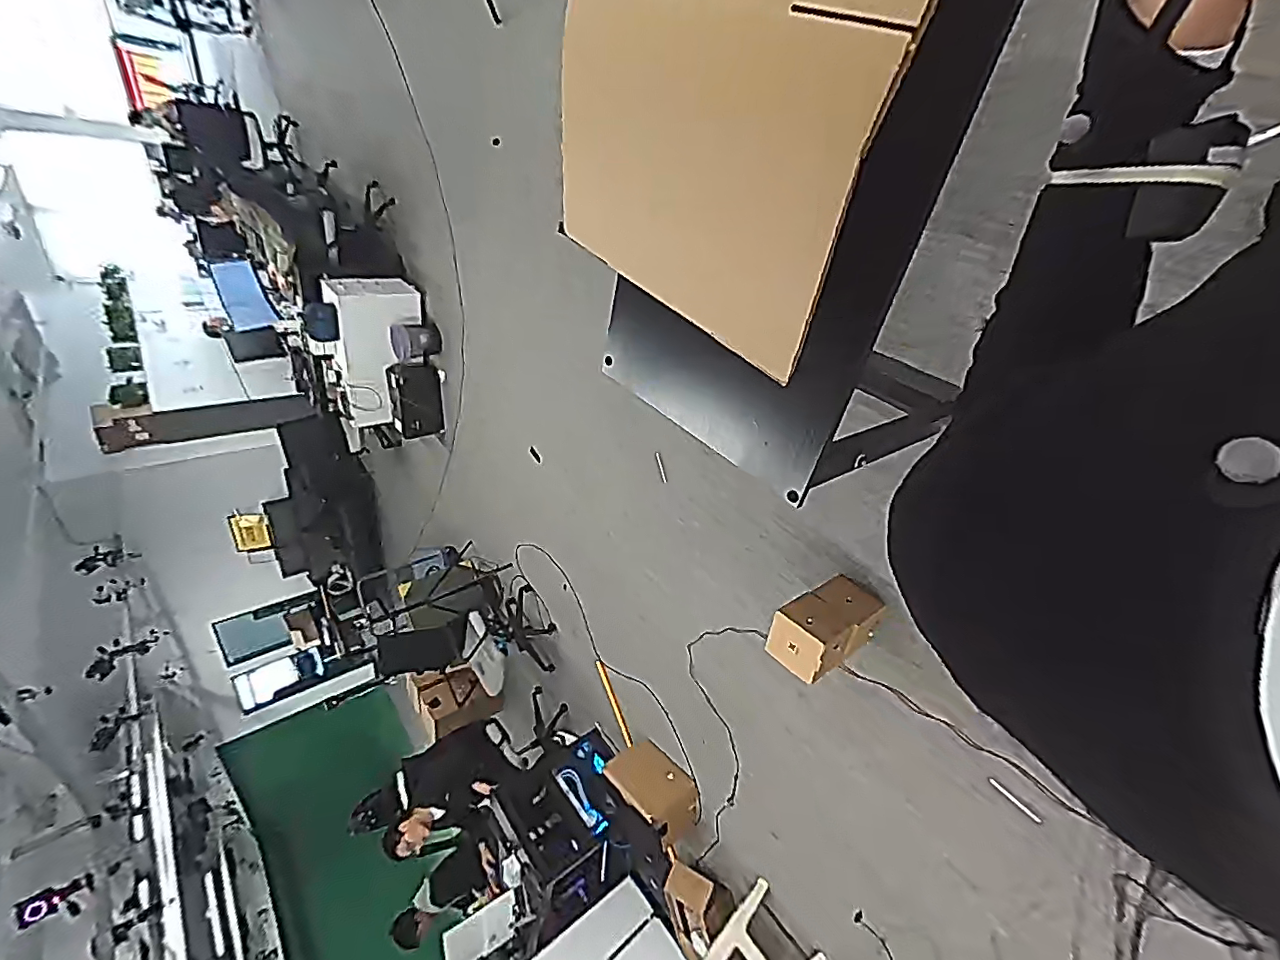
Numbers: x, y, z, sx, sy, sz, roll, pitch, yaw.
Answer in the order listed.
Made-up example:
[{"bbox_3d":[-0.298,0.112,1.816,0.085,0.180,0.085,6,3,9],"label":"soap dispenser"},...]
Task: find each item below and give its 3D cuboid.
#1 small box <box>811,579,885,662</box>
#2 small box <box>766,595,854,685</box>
[{"bbox_3d":[0.645,0.440,1.734,0.179,0.176,0.168,36,130,38],"label":"small box"},{"bbox_3d":[0.517,0.476,1.641,0.179,0.176,0.168,35,128,41],"label":"small box"}]
